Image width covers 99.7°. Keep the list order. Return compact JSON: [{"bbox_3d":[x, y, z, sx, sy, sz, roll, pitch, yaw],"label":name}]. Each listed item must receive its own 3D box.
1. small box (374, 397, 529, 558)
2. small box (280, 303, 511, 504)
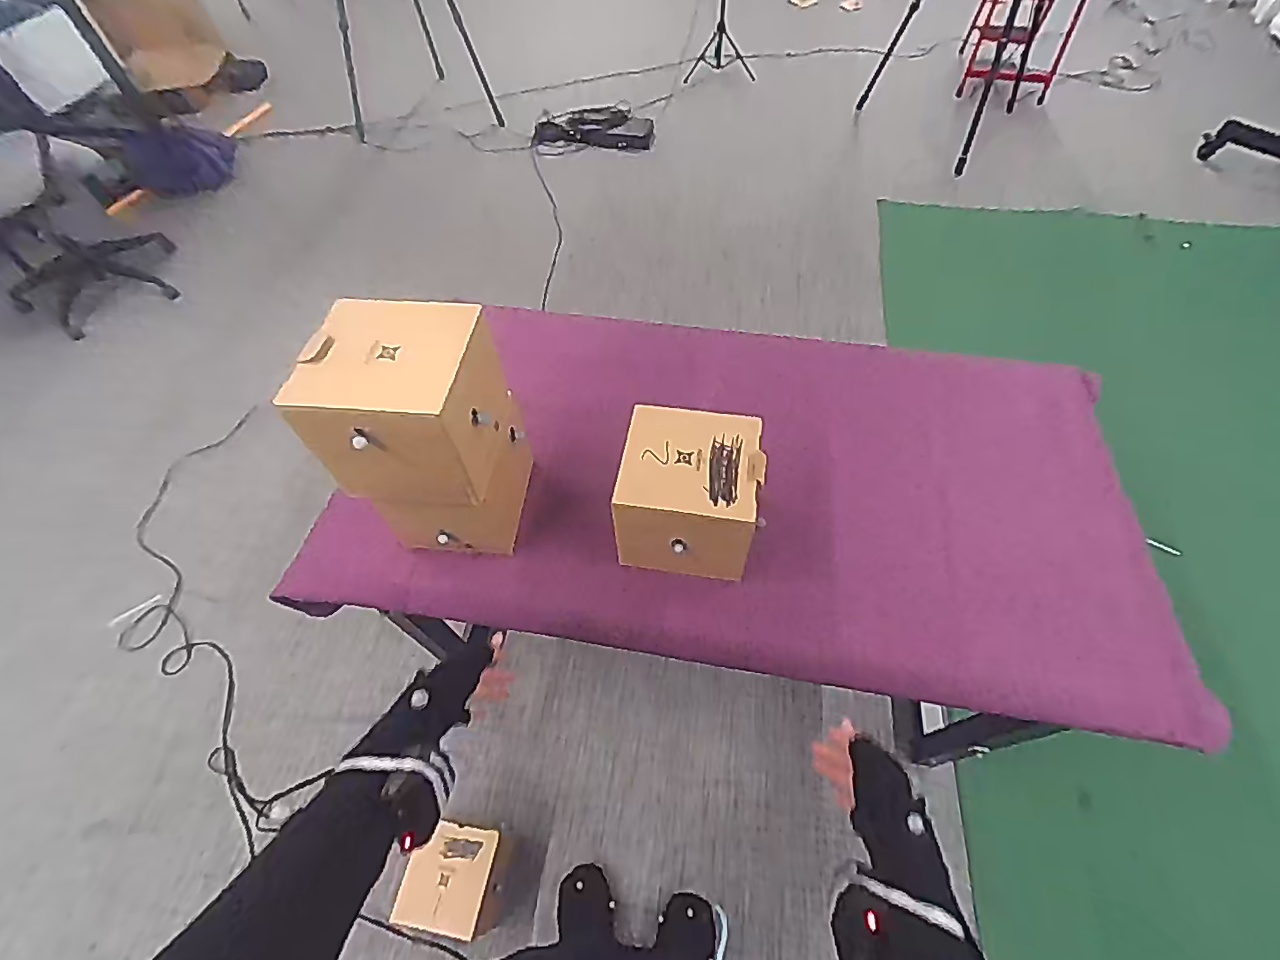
[{"bbox_3d":[-0.266,-0.008,0.788,0.168,0.176,0.179,4,56,3],"label":"small box"},{"bbox_3d":[-0.265,-0.085,0.643,0.179,0.176,0.168,4,56,4],"label":"small box"}]
